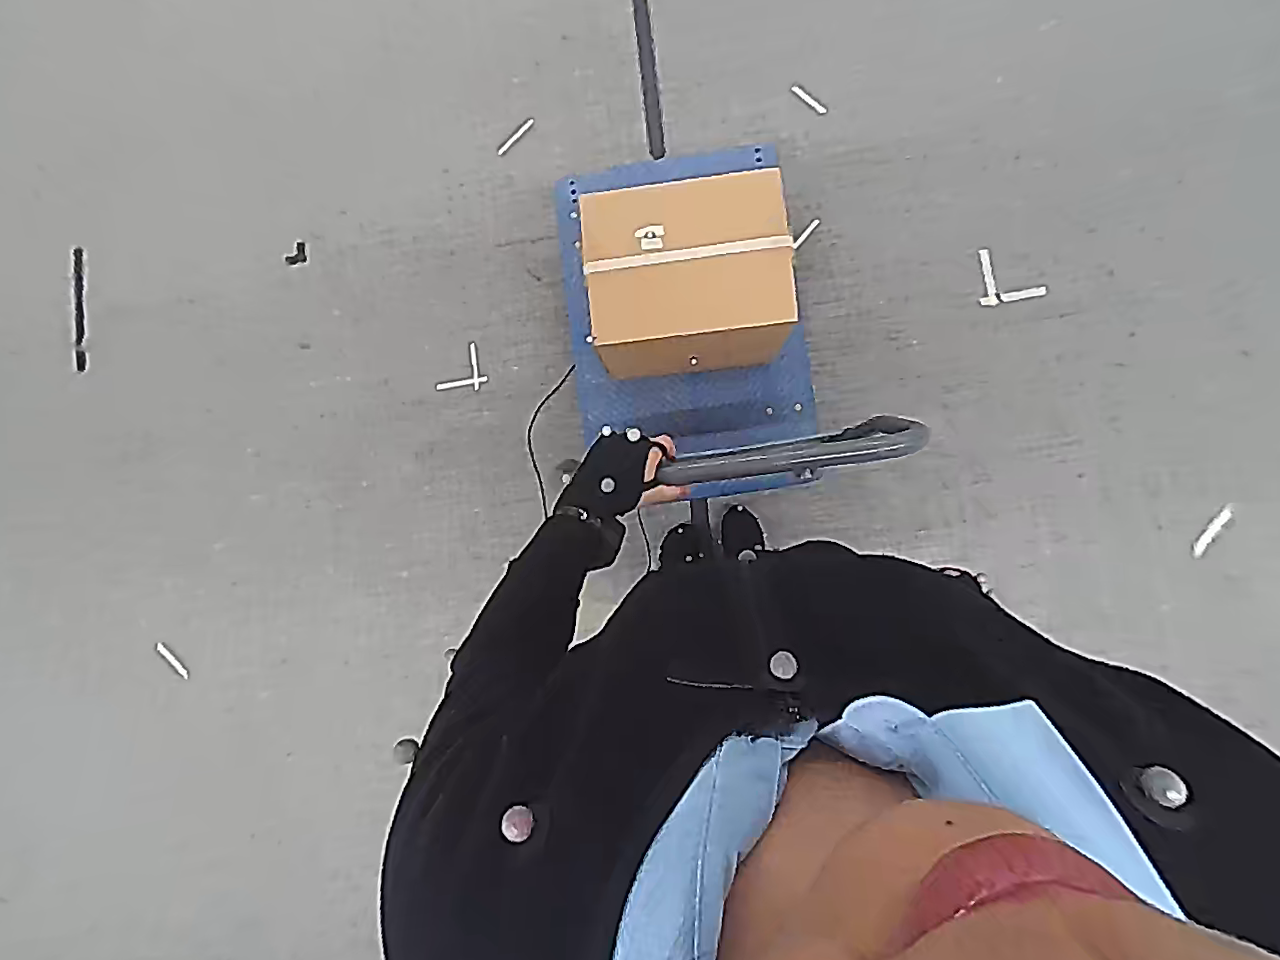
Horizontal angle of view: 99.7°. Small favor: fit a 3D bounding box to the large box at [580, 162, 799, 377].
[{"bbox_3d":[0.107,-0.434,1.199,0.408,0.320,0.320,-6,86,6],"label":"large box"}]
